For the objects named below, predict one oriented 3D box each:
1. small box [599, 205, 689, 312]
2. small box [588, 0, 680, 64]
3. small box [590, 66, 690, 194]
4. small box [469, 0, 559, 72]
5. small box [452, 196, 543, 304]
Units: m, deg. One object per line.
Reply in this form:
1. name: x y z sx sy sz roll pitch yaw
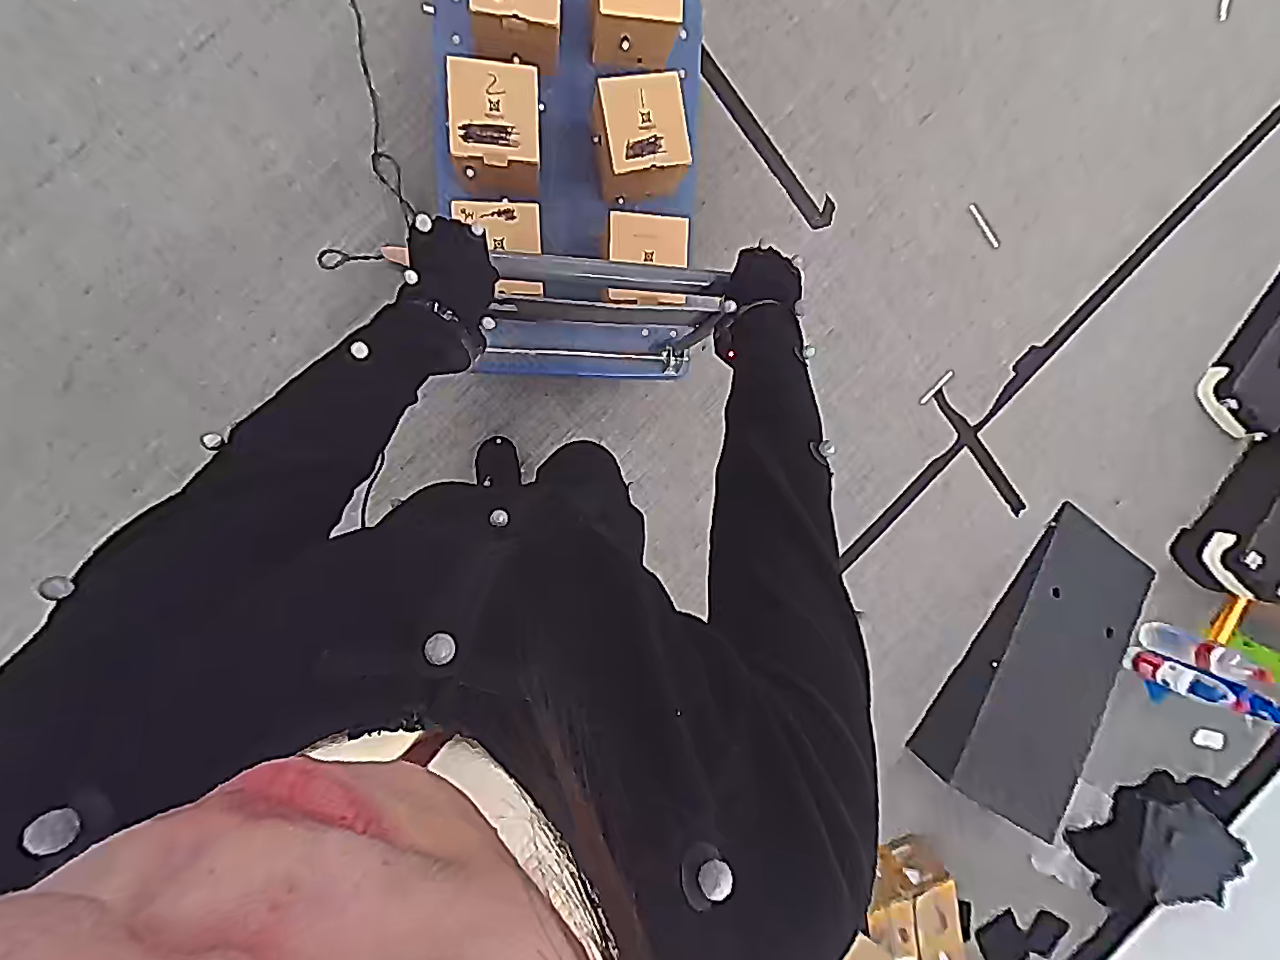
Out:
1. small box: 0.003 -0.473 1.184 0.168 0.176 0.179 0 97 -12
2. small box: -0.016 -0.998 1.109 0.168 0.176 0.179 -3 98 -10
3. small box: -0.005 -0.728 1.147 0.168 0.176 0.179 -12 99 -9
4. small box: -0.244 -0.960 1.066 0.168 0.176 0.179 2 98 -11
5. small box: -0.289 -0.467 1.124 0.168 0.176 0.179 -4 99 -12
